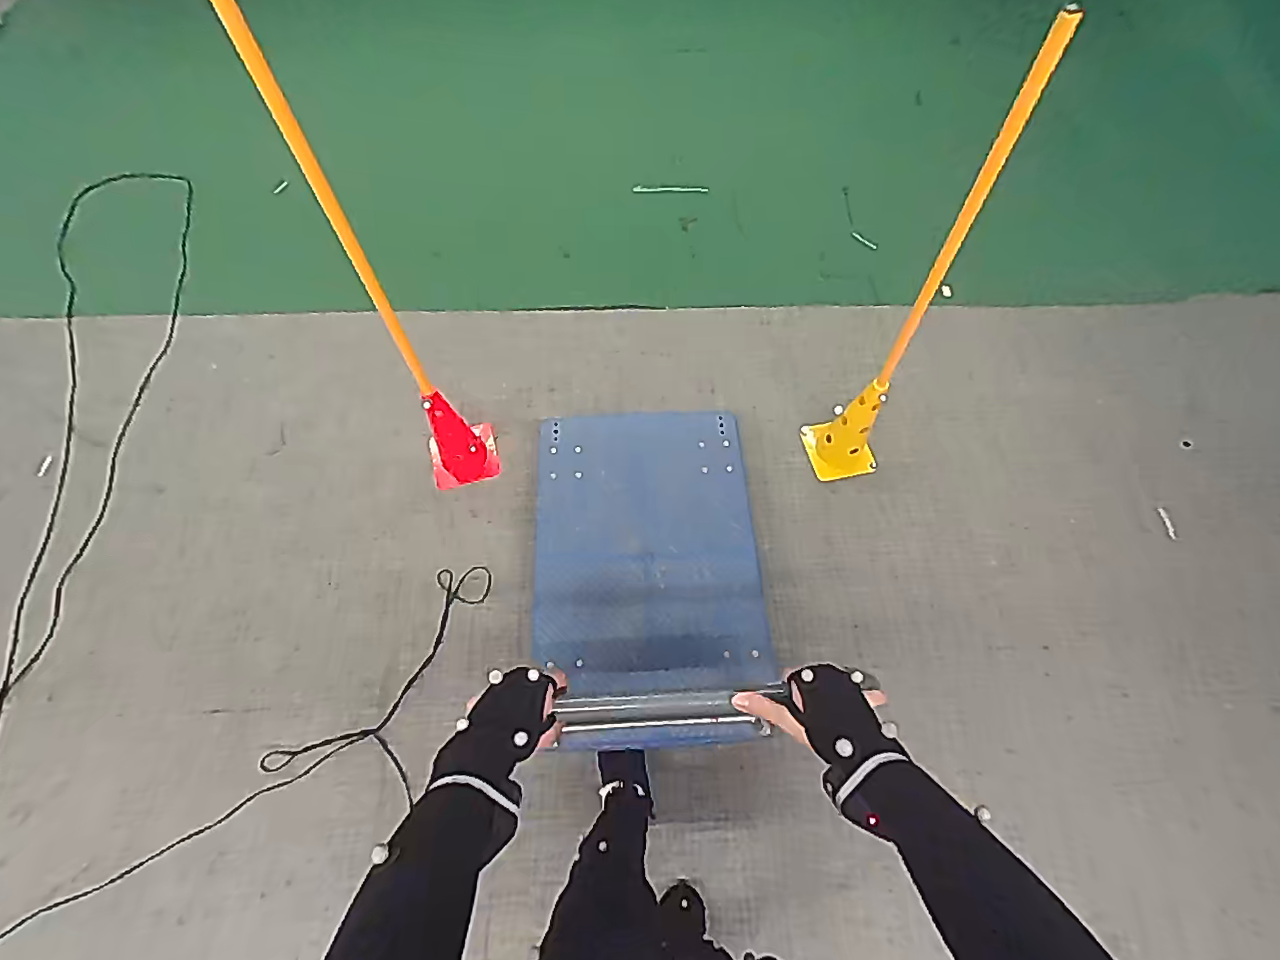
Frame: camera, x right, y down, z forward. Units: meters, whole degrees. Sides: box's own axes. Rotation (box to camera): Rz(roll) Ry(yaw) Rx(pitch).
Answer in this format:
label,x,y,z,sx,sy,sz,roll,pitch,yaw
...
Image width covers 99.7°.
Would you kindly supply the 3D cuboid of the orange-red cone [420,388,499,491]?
label,x,y,z,sx,sy,sz,roll,pitch,yaw
orange-red cone,-0.548,-0.144,1.542,0.199,0.360,0.198,-15,65,-7
